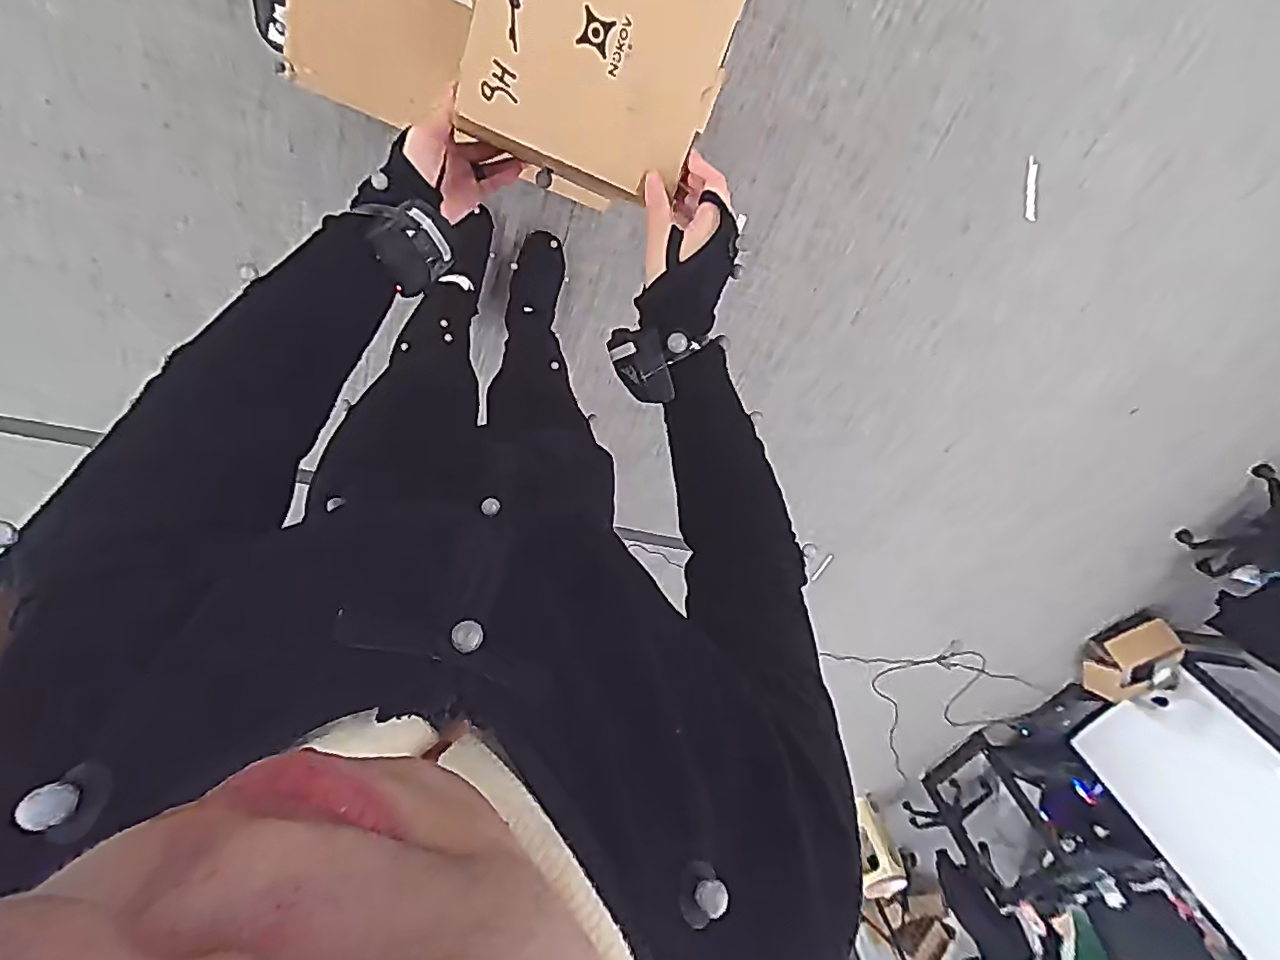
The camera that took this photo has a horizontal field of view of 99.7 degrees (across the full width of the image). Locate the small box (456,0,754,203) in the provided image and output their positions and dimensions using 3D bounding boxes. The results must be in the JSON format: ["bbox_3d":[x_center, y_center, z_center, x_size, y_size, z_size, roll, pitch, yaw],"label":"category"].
[{"bbox_3d":[-0.040,-0.346,0.435,0.179,0.176,0.168,12,113,-25],"label":"small box"}]

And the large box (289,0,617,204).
[{"bbox_3d":[-0.188,-0.628,0.728,0.408,0.320,0.320,13,122,-20],"label":"large box"}]
